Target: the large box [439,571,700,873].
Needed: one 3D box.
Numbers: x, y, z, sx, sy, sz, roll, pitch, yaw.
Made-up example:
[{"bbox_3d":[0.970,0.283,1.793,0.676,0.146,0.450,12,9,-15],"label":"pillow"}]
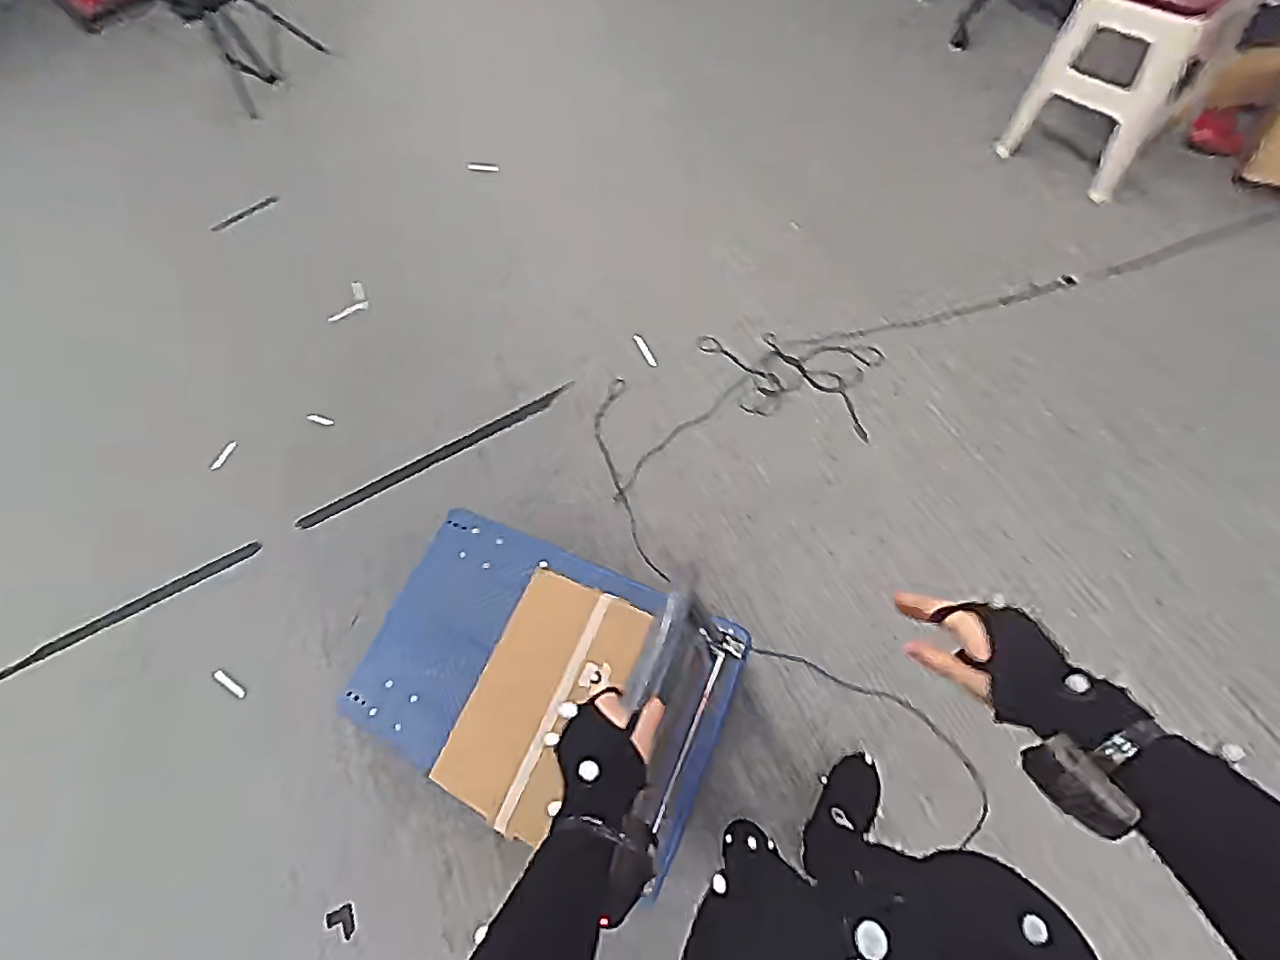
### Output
[{"bbox_3d":[-0.106,0.454,1.070,0.320,0.320,0.408,20,71,19],"label":"large box"}]
